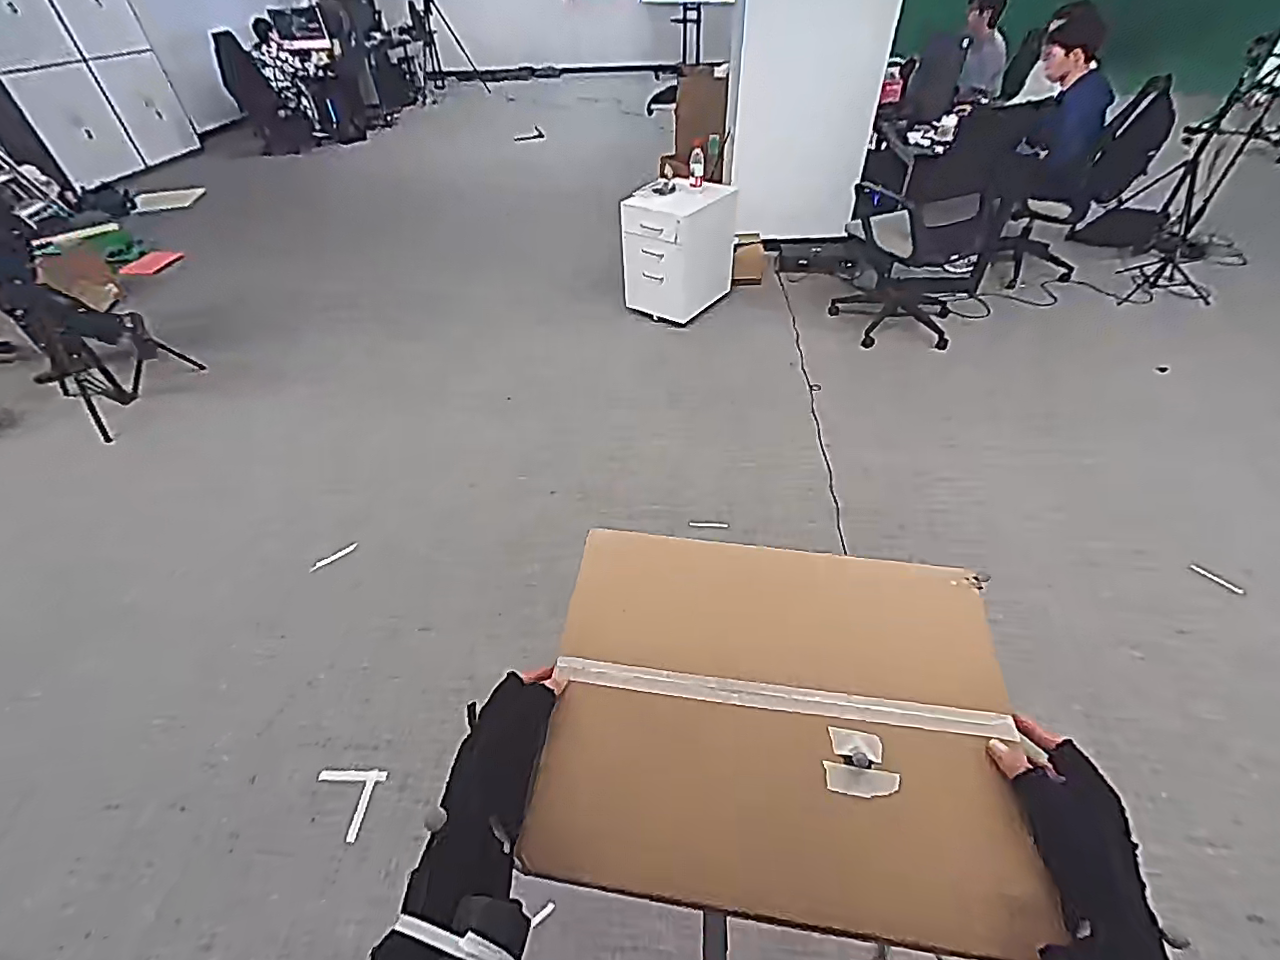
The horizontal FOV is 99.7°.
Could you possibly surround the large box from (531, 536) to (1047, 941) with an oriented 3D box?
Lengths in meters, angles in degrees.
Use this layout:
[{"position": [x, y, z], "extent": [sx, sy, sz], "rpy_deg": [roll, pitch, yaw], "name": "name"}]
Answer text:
[{"position": [0.128, 0.291, 0.623], "extent": [0.408, 0.320, 0.320], "rpy_deg": [6, 53, 6], "name": "large box"}]
